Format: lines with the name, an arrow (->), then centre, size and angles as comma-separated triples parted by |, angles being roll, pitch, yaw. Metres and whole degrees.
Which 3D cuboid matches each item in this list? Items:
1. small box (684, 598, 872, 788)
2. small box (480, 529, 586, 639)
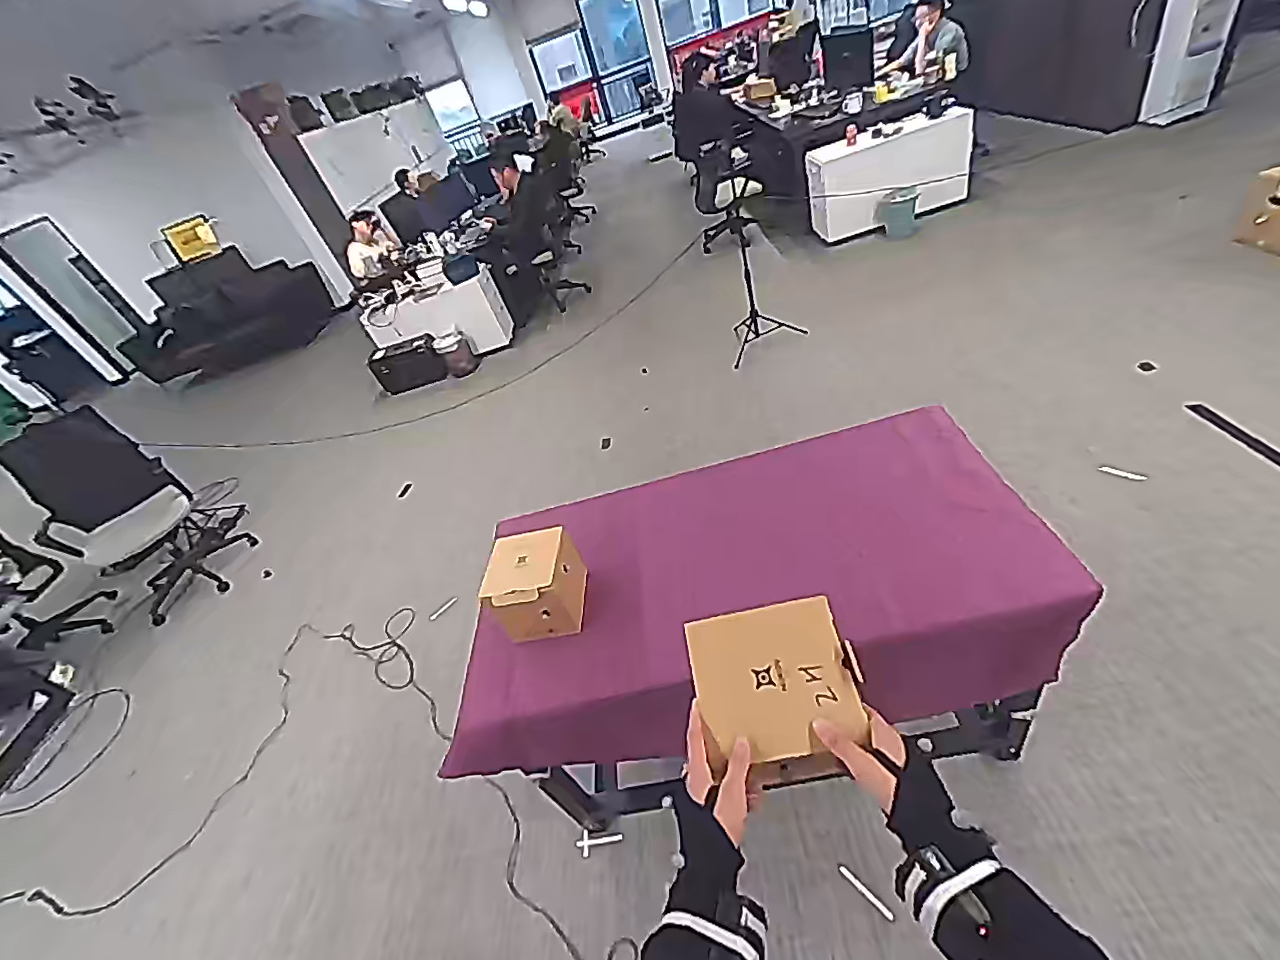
small box -> 0.164, 0.269, 0.666 | 0.179, 0.176, 0.168 | -13, 53, 6
small box -> -0.228, 0.239, 1.208 | 0.168, 0.176, 0.179 | -11, 38, 11
